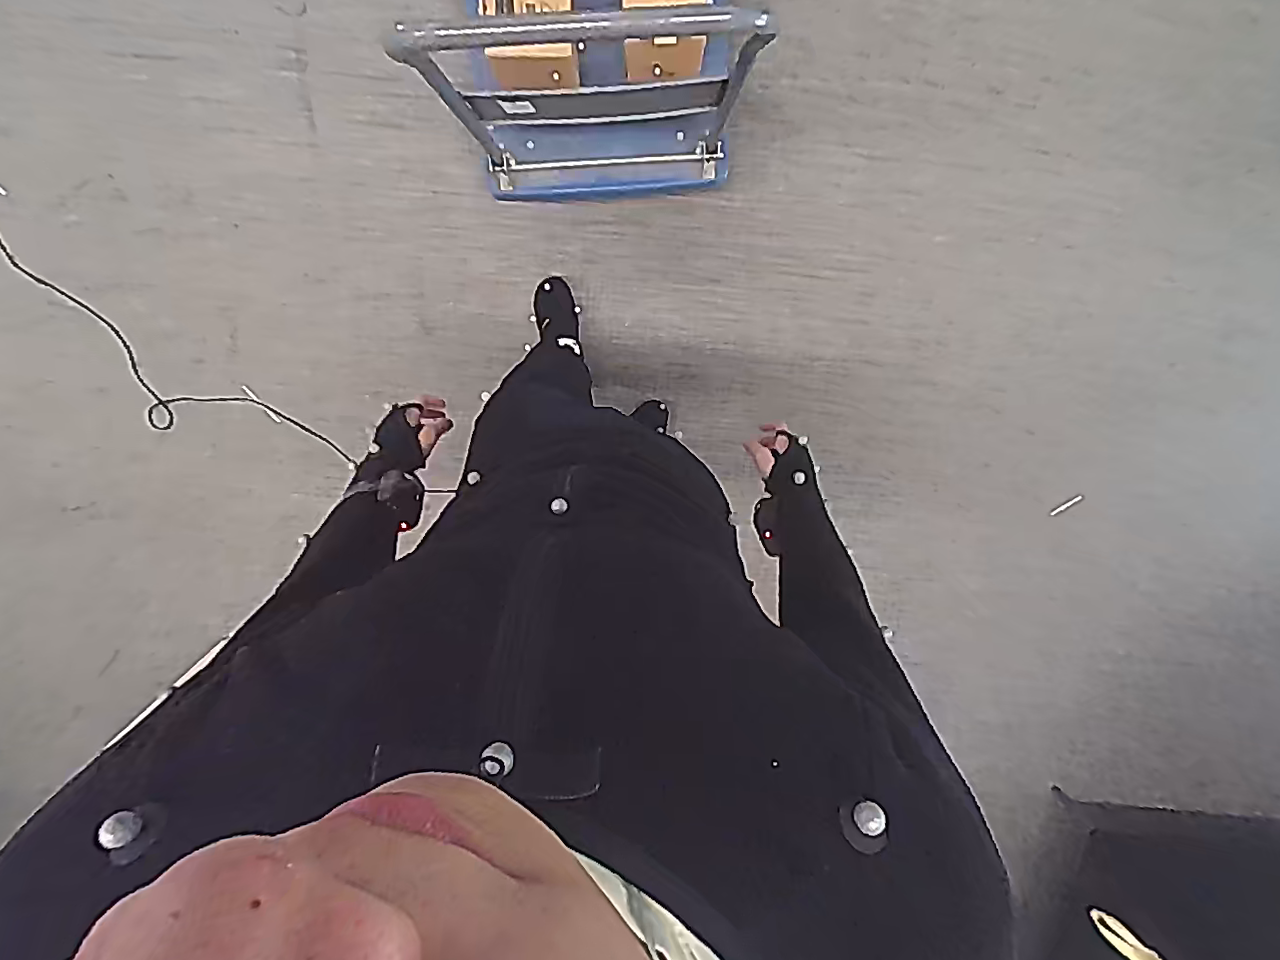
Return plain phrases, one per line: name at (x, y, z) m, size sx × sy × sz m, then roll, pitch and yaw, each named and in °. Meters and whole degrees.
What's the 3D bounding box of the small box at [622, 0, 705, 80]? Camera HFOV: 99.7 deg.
small box at (0.046, -0.988, 1.145) m, size 0.168 × 0.176 × 0.179 m, roll -2°, pitch 104°, yaw 1°
